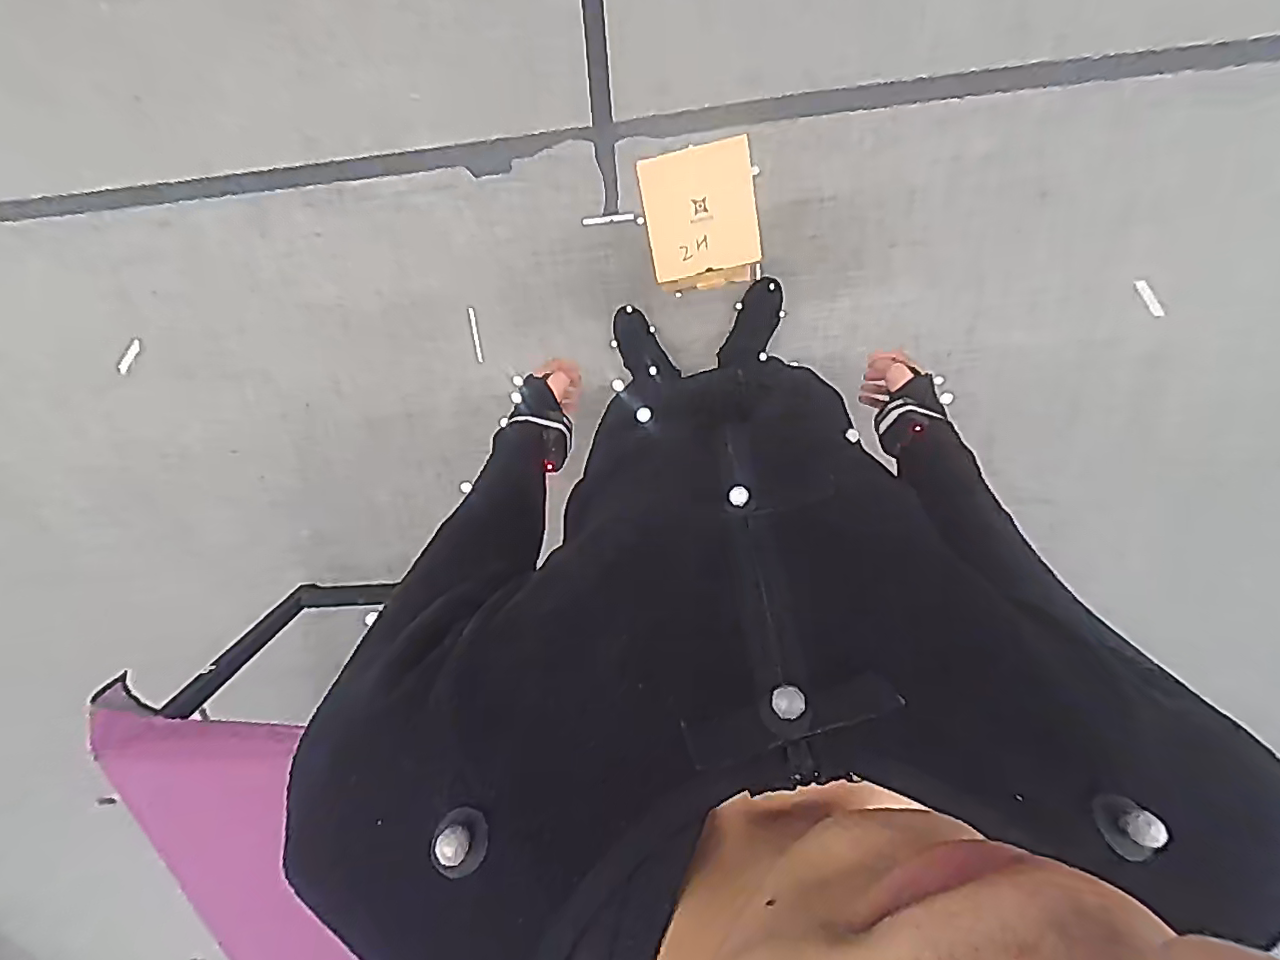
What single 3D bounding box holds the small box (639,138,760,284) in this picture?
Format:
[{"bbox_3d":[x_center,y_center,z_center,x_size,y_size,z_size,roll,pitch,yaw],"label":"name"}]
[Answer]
[{"bbox_3d":[0.095,-0.431,0.889,0.168,0.176,0.179,-9,112,8],"label":"small box"}]
